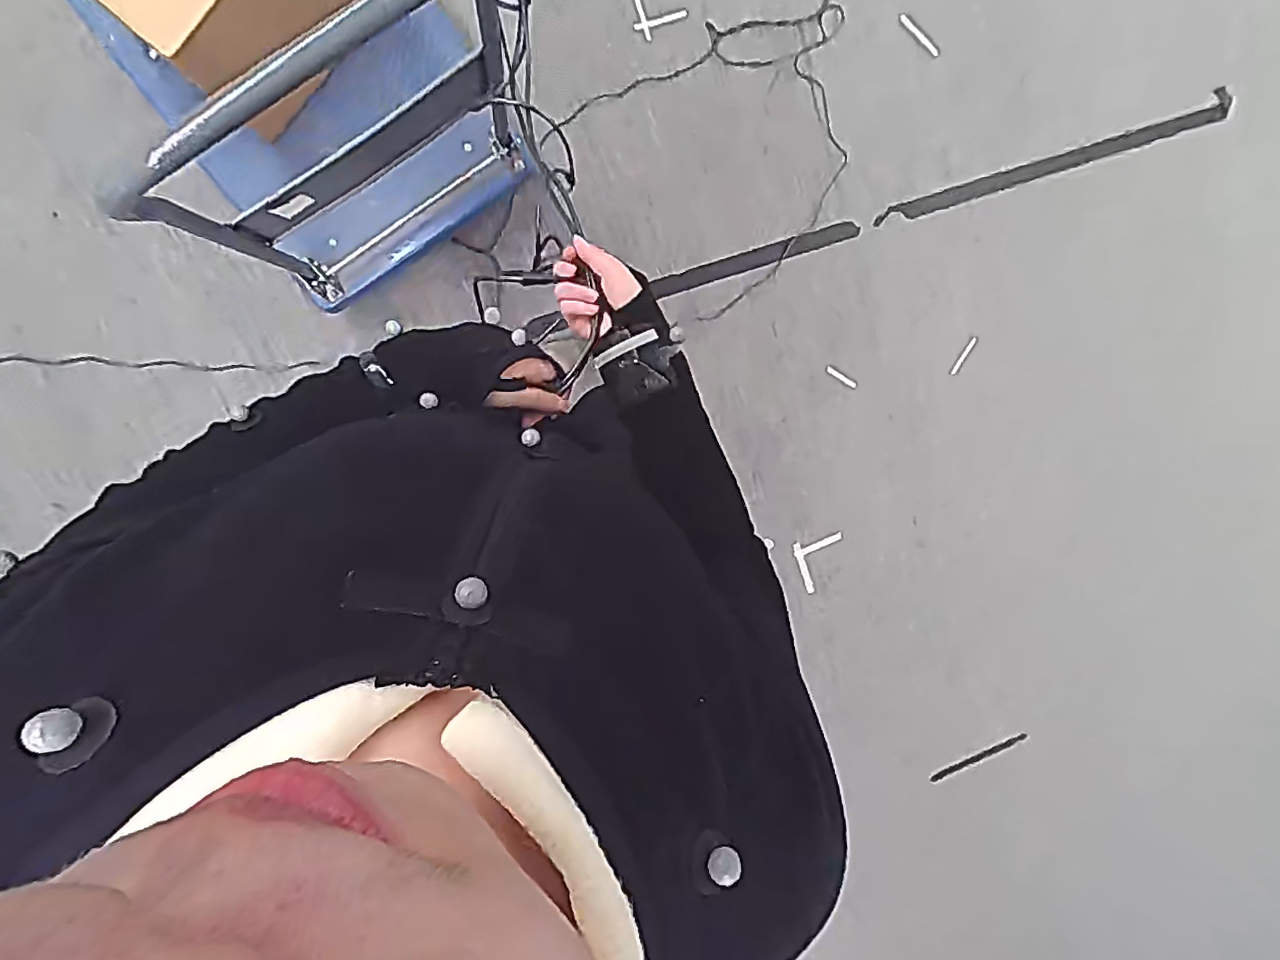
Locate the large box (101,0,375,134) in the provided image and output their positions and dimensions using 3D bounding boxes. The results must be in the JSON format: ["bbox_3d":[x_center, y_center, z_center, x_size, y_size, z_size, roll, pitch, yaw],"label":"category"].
[{"bbox_3d":[-0.707,-0.902,0.897,0.320,0.320,0.408,40,92,-15],"label":"large box"}]
